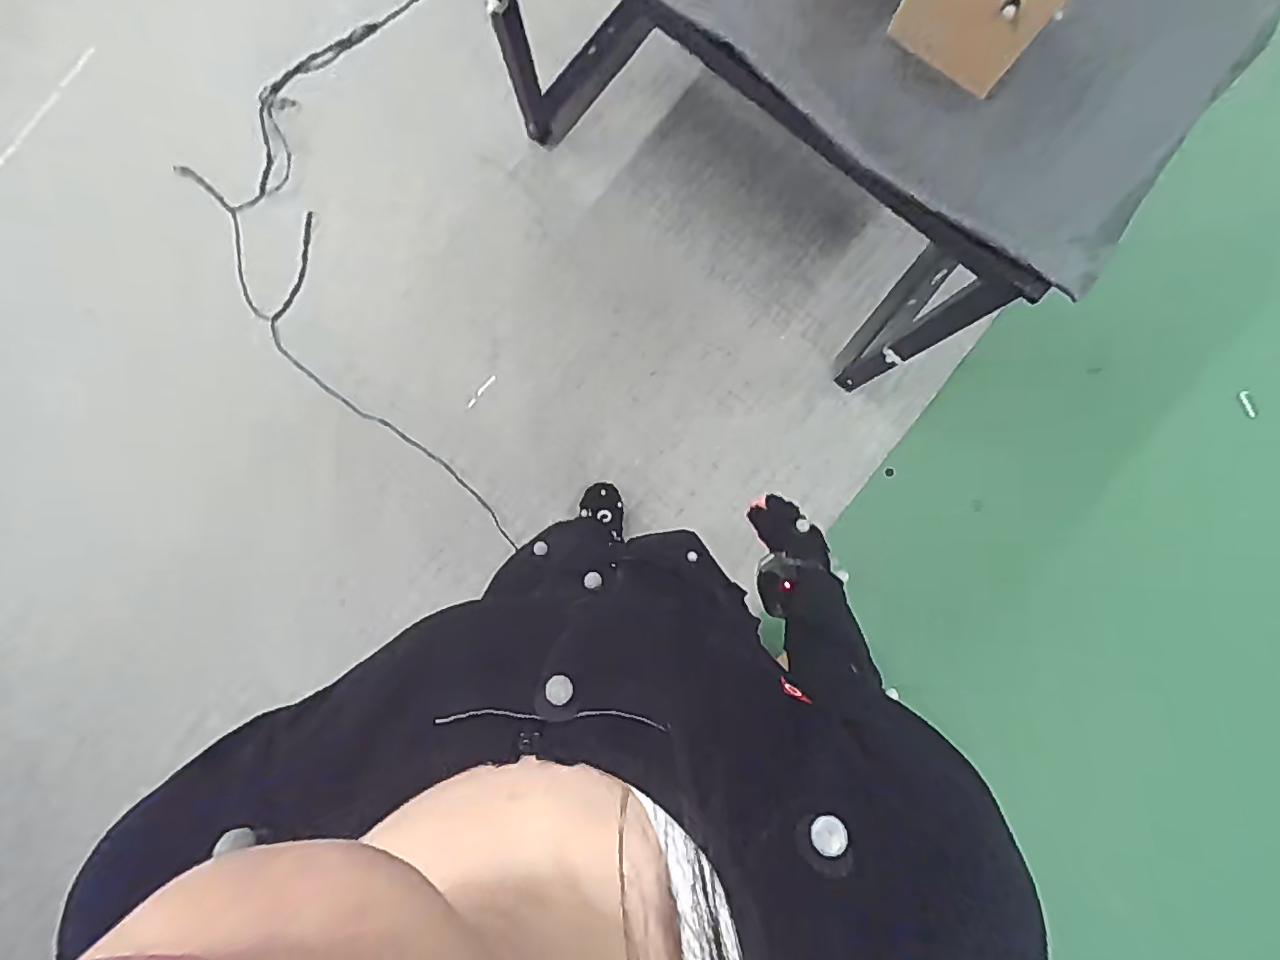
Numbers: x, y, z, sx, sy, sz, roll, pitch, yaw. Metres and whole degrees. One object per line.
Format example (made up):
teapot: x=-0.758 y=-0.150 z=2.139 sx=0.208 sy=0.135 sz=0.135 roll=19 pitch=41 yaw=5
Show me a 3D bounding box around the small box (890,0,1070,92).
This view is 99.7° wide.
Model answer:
small box: x=0.479 y=-0.671 z=0.718 sx=0.179 sy=0.176 sz=0.168 roll=37 pitch=87 yaw=2
